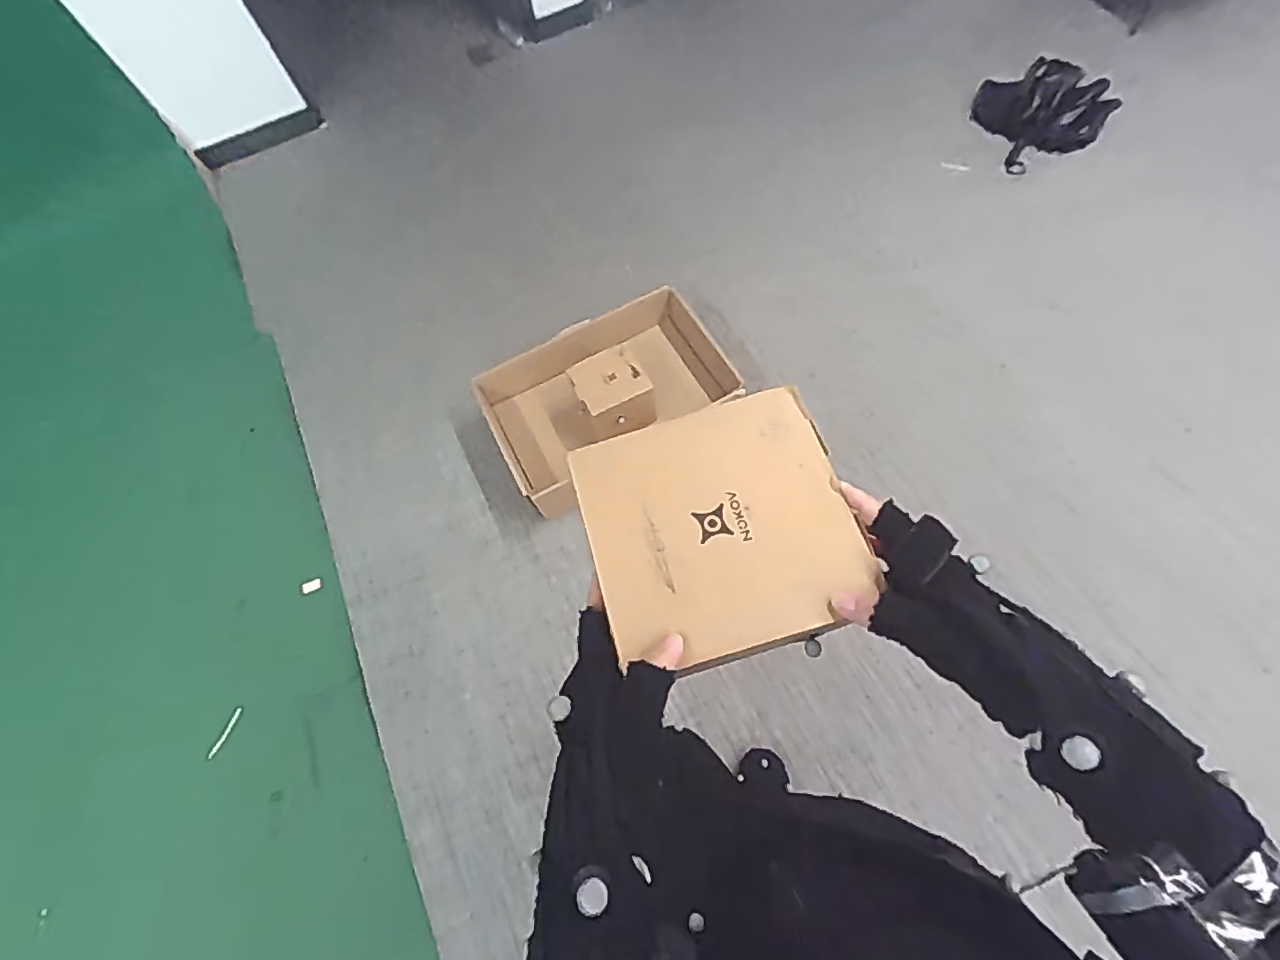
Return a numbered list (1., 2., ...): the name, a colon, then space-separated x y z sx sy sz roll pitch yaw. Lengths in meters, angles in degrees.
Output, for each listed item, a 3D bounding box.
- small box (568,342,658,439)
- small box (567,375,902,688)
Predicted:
1. small box: -0.065 -0.226 1.446 0.179 0.176 0.168 -29 66 -8
2. small box: 0.061 0.051 0.429 0.179 0.176 0.168 -21 68 -3
